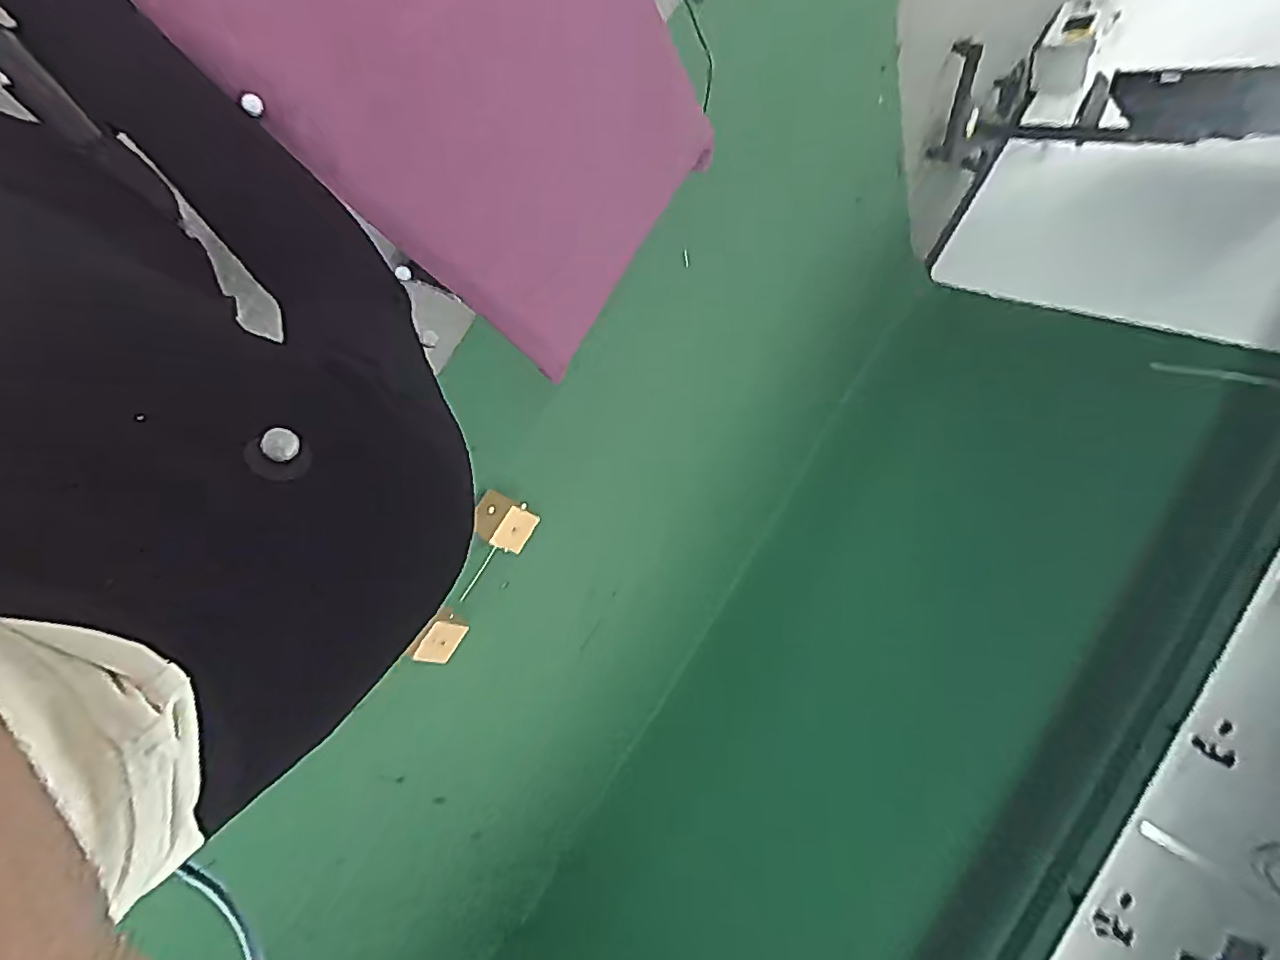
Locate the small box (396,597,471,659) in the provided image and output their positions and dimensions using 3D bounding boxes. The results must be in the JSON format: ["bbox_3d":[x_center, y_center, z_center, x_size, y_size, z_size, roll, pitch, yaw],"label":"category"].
[{"bbox_3d":[-0.806,0.575,2.103,0.168,0.176,0.179,-58,145,-4],"label":"small box"}]

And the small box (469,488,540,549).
[{"bbox_3d":[-0.541,0.149,2.138,0.168,0.176,0.179,-59,146,-3],"label":"small box"}]
